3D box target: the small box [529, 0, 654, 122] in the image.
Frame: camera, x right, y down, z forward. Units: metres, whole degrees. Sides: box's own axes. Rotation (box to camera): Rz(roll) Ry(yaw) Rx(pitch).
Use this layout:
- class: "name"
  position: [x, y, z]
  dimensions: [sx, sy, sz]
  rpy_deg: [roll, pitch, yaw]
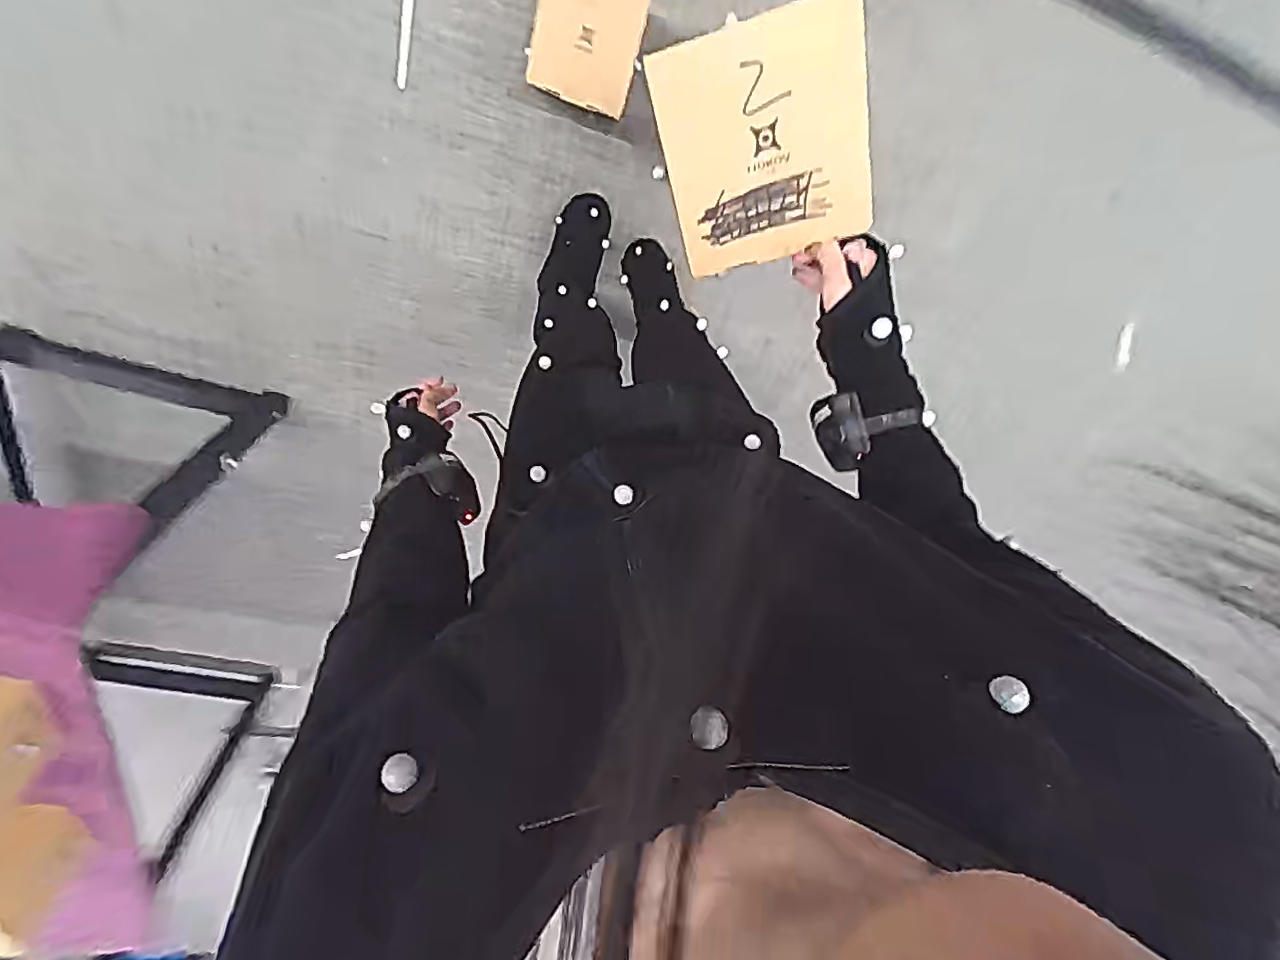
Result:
- class: "small box"
  position: [-0.086, -0.743, 0.929]
  dimensions: [0.168, 0.176, 0.179]
  rpy_deg: [12, 121, -15]

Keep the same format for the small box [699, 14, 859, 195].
- class: "small box"
  position: [0.205, -0.587, 0.863]
  dimensions: [0.168, 0.176, 0.179]
  rpy_deg: [17, 120, -16]

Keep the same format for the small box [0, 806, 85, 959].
- class: "small box"
  position: [-1.107, 0.668, 0.903]
  dimensions: [0.179, 0.176, 0.168]
  rpy_deg: [10, 123, -13]
